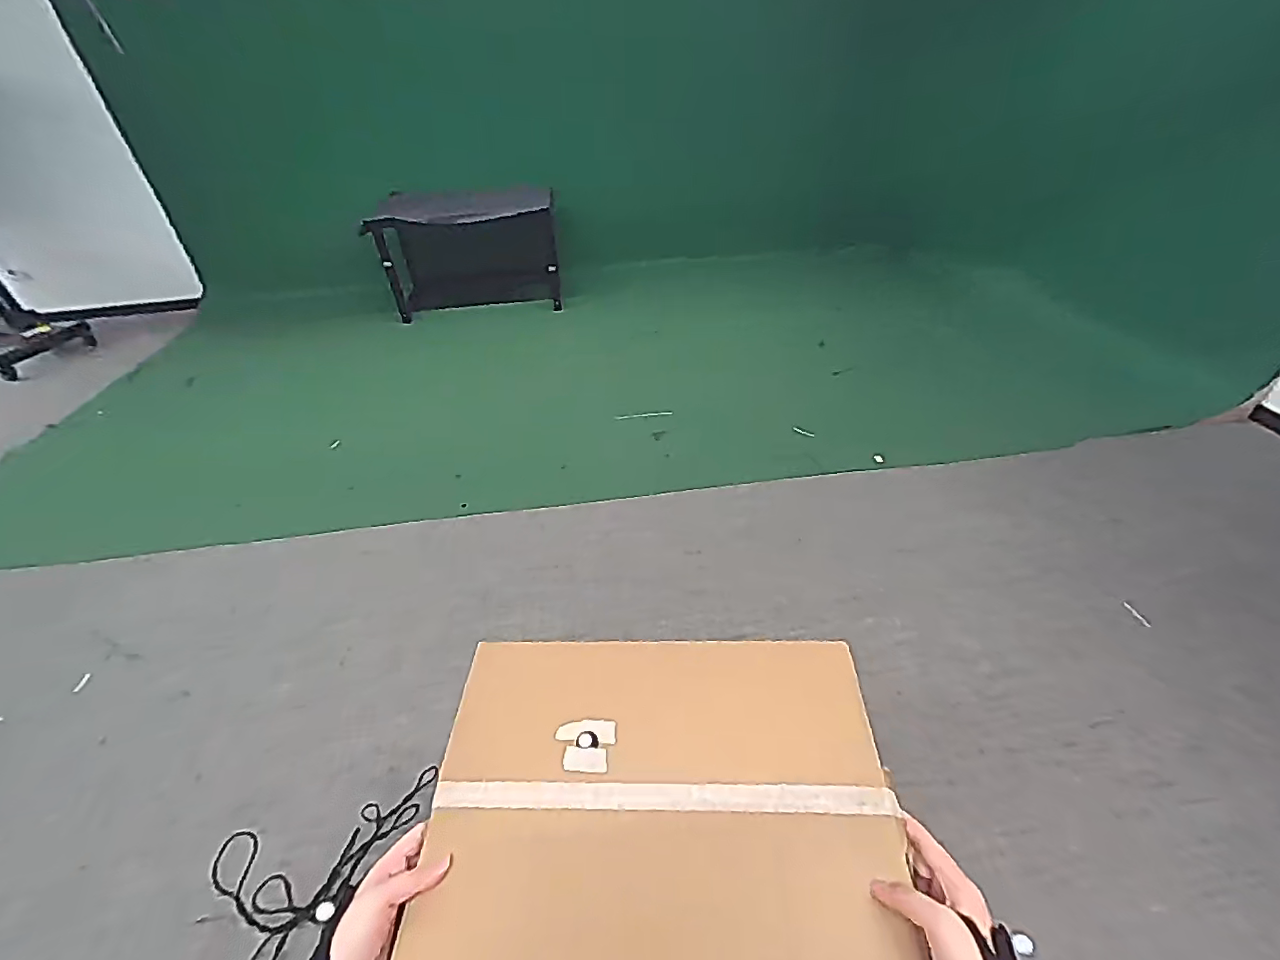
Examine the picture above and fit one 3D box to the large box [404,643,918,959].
[{"bbox_3d":[0.029,0.400,0.593,0.408,0.320,0.320,-3,43,6],"label":"large box"}]
